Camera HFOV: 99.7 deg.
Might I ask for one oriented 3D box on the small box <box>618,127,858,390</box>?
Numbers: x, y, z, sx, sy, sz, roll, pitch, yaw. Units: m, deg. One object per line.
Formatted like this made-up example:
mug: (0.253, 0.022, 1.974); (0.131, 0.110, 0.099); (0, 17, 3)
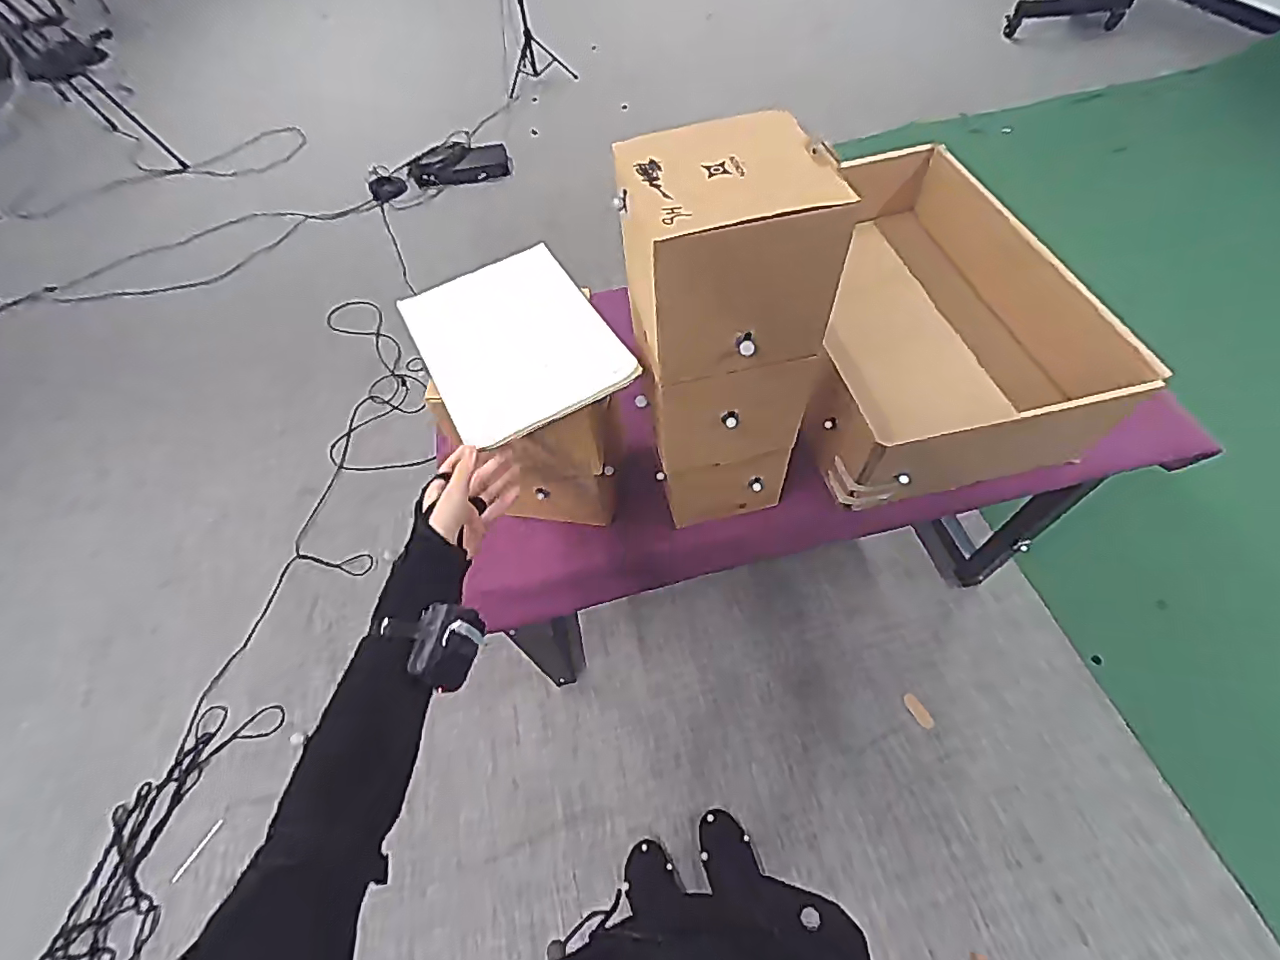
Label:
small box: (0.082, -0.215, 0.541); (0.179, 0.176, 0.168); (-12, 55, -4)

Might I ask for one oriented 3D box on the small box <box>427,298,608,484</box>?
small box: (-0.138, -0.107, 0.690); (0.179, 0.176, 0.168); (-3, 57, 5)

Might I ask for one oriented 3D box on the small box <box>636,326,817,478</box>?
small box: (0.095, -0.125, 0.678); (0.179, 0.176, 0.168); (-12, 56, -2)
